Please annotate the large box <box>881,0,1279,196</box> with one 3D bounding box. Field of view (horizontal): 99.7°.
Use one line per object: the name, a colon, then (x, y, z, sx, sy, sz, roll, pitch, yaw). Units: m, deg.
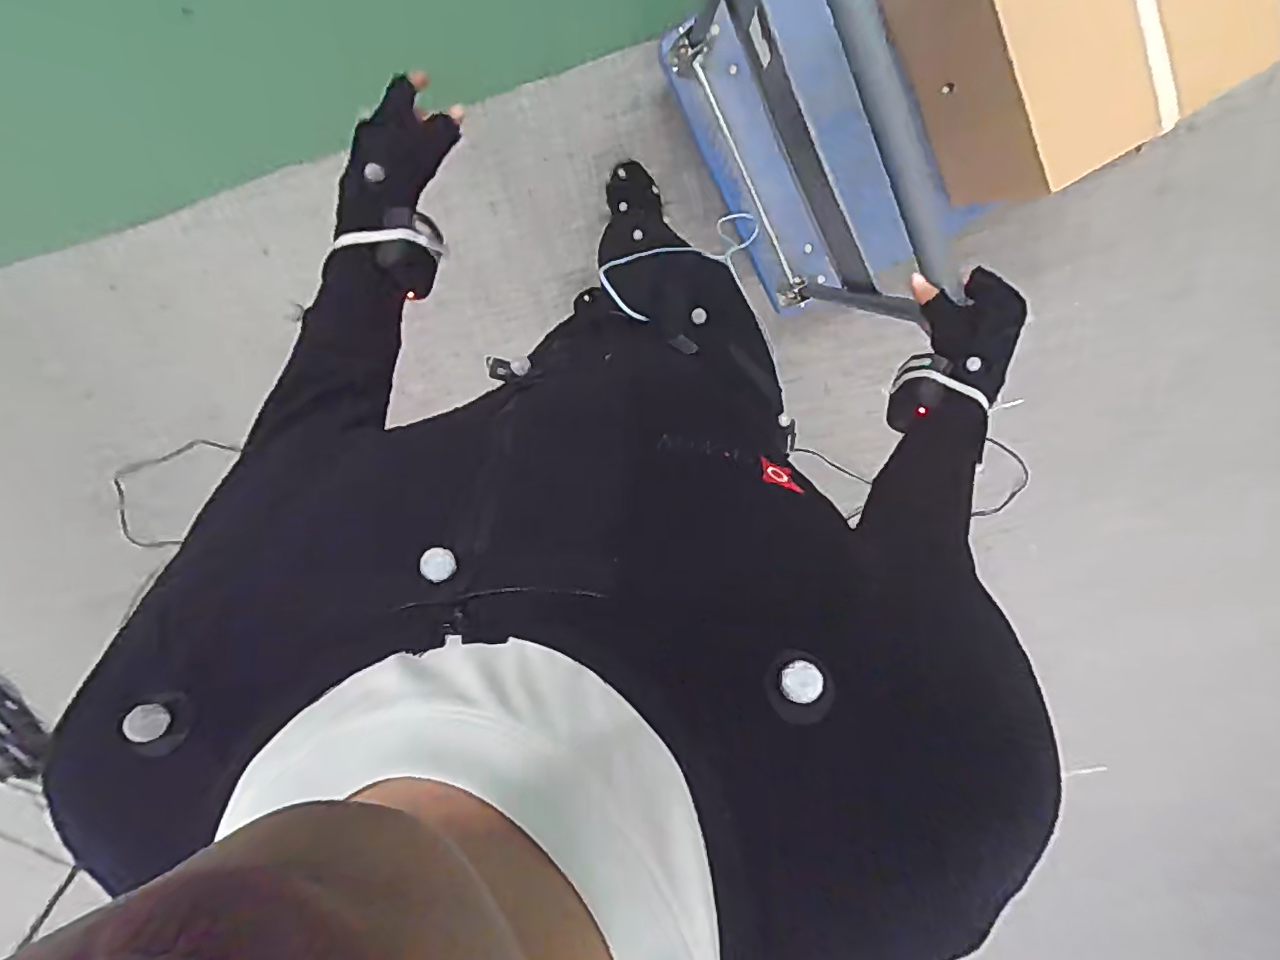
large box: (0.638, -0.725, 0.840, 0.320, 0.320, 0.408, -29, 110, 14)
